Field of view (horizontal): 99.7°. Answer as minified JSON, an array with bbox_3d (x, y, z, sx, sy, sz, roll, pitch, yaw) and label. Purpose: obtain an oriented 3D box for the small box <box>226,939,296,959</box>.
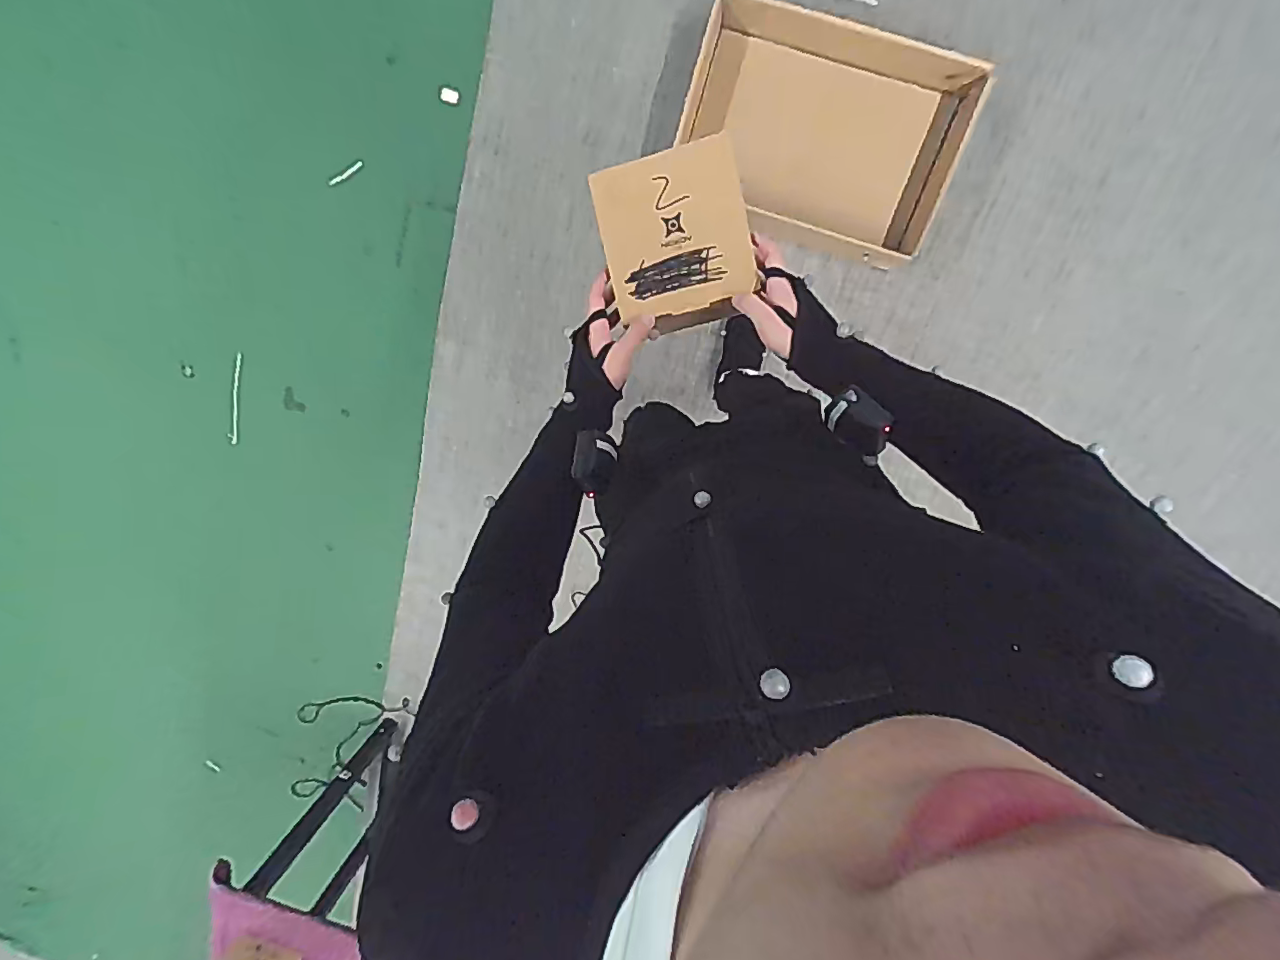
[{"bbox_3d":[-0.958,1.276,1.308,0.168,0.176,0.179,17,108,1],"label":"small box"}]
